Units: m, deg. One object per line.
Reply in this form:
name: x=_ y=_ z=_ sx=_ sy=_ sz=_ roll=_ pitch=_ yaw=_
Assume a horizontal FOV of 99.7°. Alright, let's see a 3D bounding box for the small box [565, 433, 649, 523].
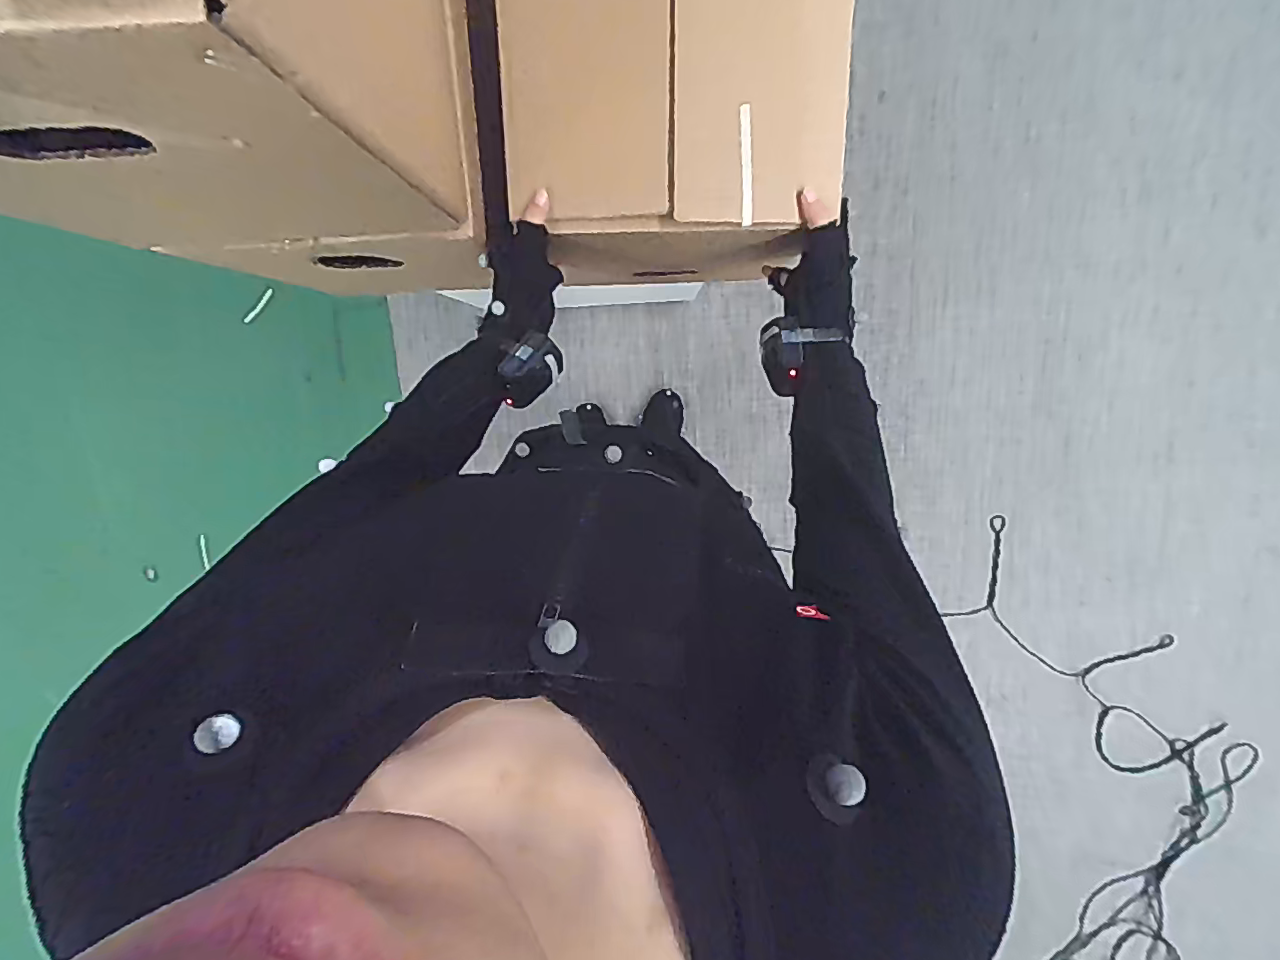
small box: x=-0.095 y=-0.009 z=1.428 sx=0.168 sy=0.176 sz=0.179 roll=14 pitch=102 yaw=-19
